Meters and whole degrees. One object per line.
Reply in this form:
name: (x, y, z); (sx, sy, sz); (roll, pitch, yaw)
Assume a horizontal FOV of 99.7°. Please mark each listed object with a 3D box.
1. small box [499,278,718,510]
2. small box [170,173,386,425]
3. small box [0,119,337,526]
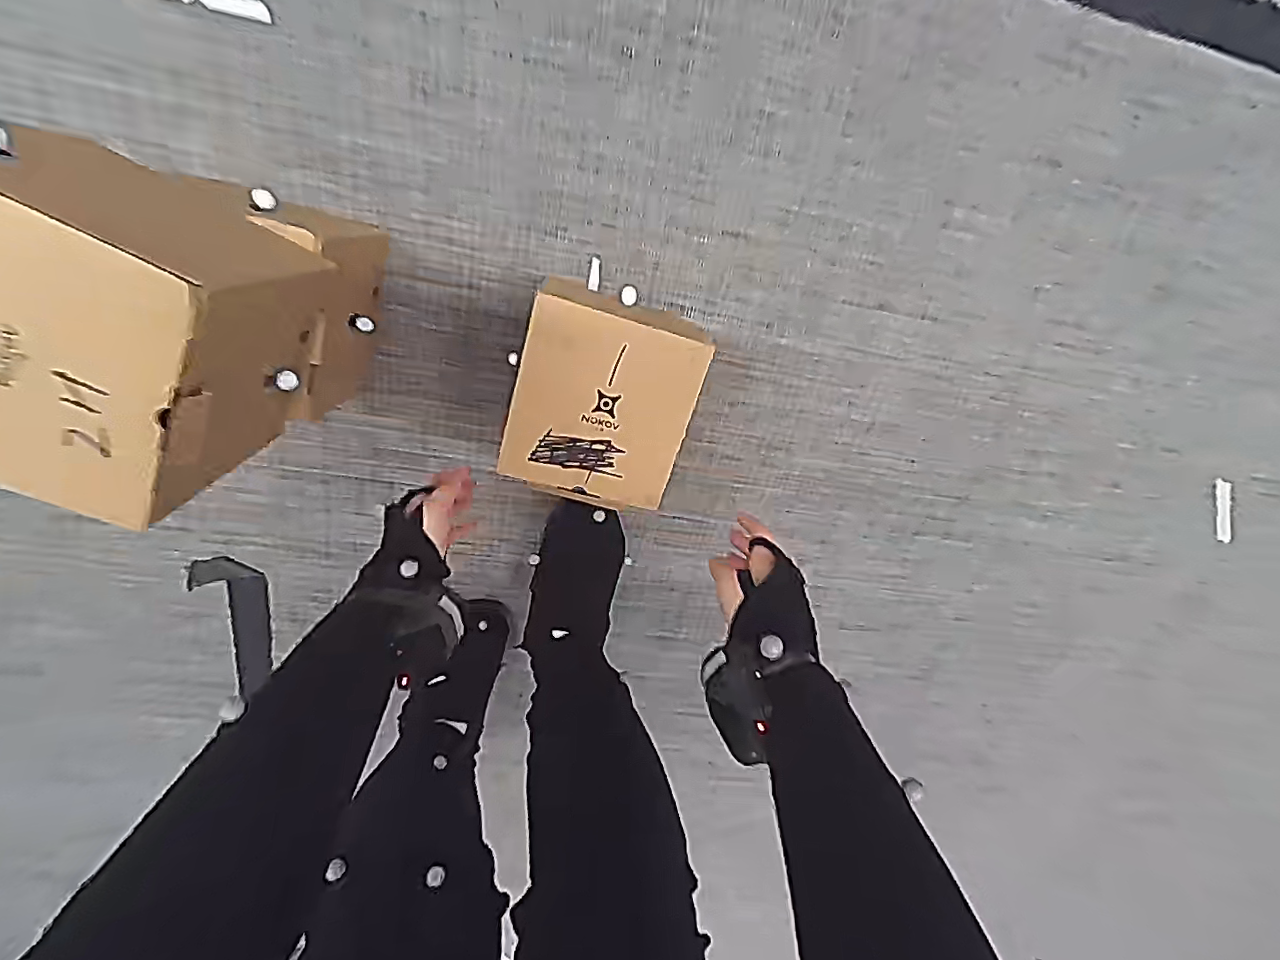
small box: (-0.039, -0.097, 0.570); (0.168, 0.176, 0.179); (14, 112, -13)
small box: (-0.354, -0.172, 0.500); (0.179, 0.176, 0.168); (13, 113, -13)
small box: (-0.338, -0.105, 0.349); (0.179, 0.176, 0.168); (26, 110, -17)
